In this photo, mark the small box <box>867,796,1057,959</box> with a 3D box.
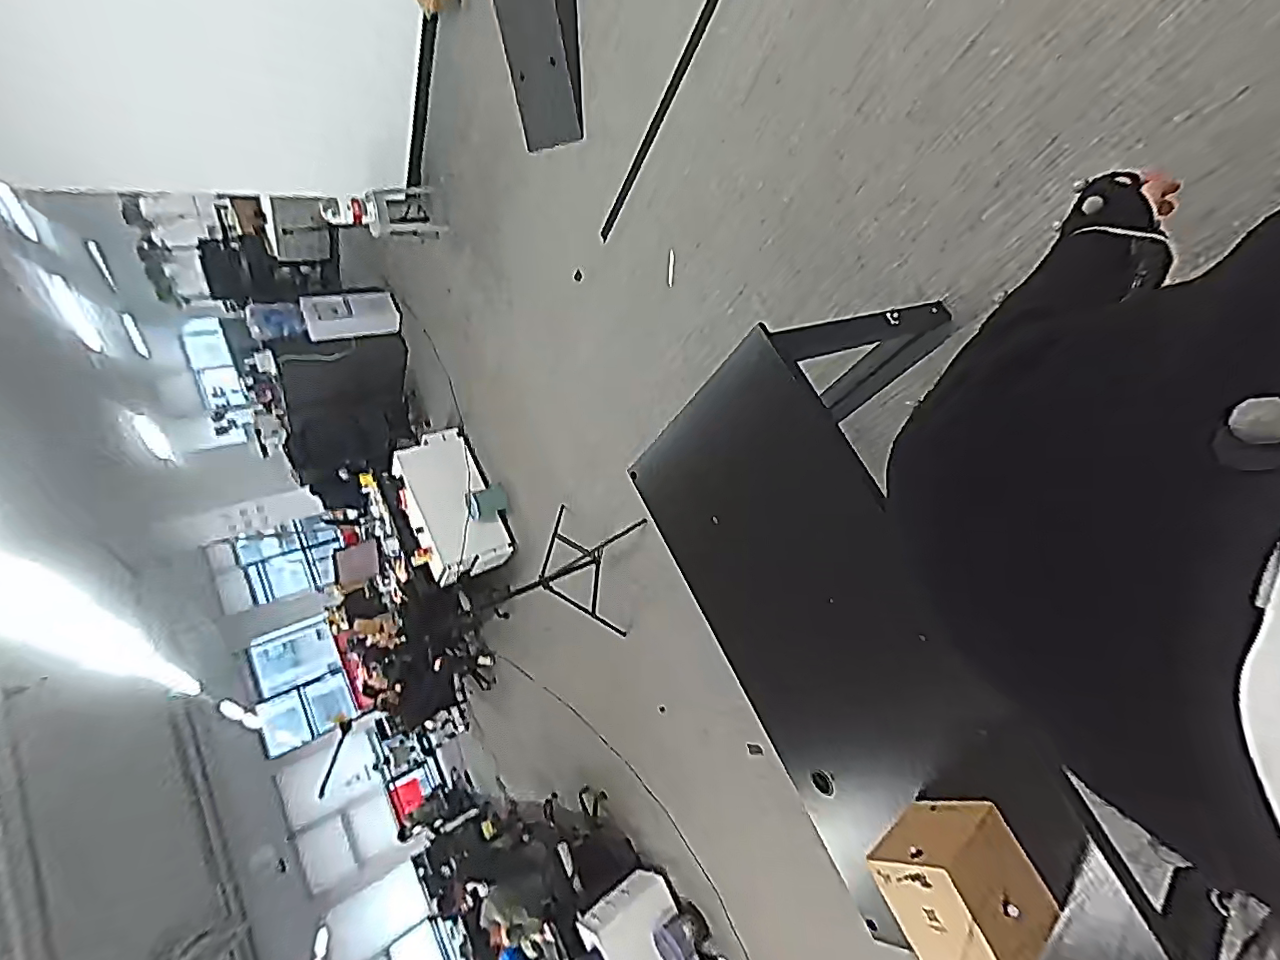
[{"bbox_3d":[0.520,0.649,0.874,0.179,0.176,0.168,60,145,15],"label":"small box"}]
